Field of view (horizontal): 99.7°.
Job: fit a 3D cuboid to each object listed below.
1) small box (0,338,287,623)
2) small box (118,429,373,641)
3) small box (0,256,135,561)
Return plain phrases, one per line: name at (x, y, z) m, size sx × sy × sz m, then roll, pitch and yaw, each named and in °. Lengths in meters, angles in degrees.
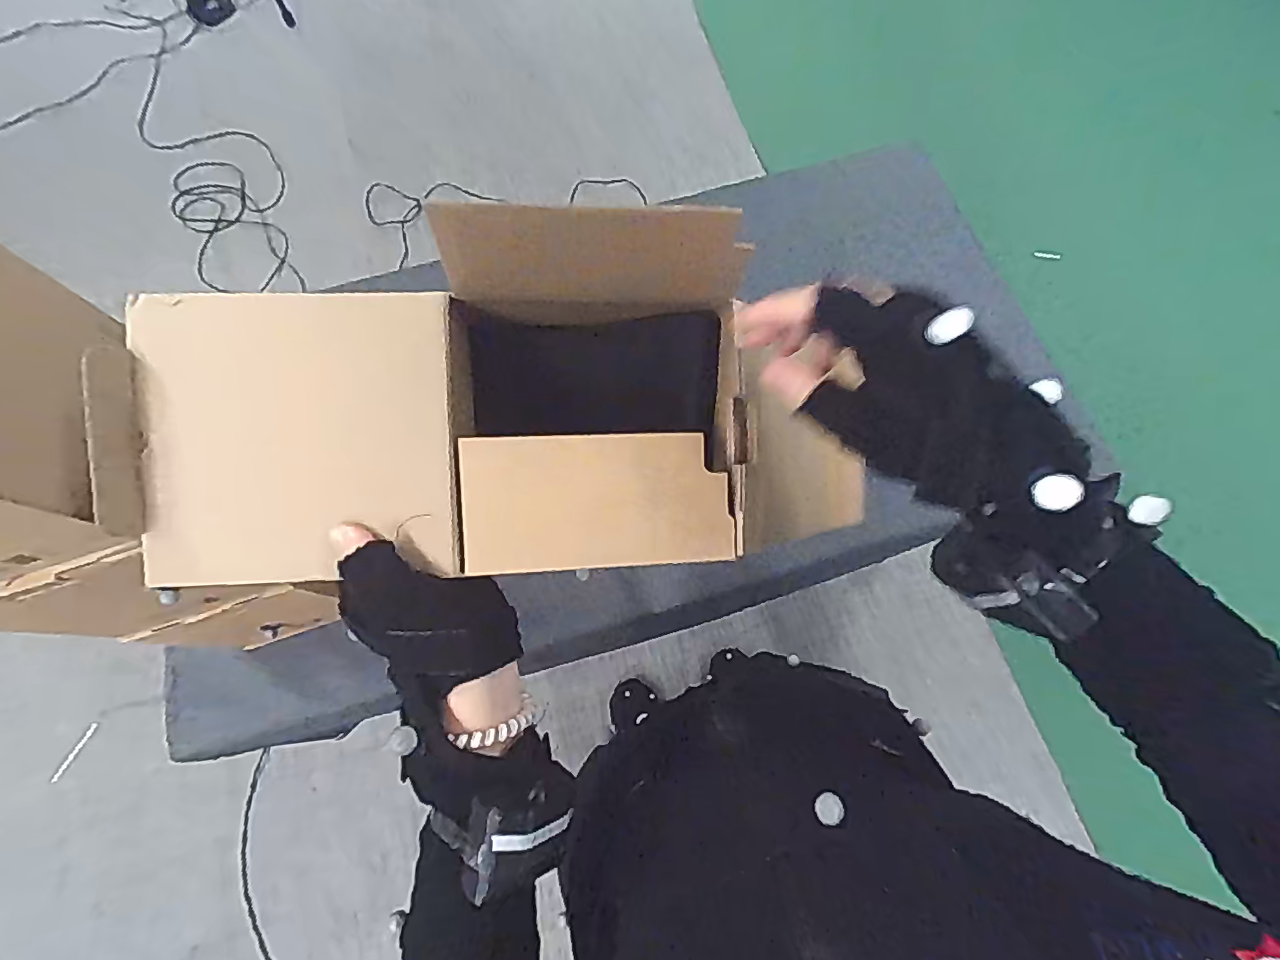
small box at (-0.434, 0.016, 0.459) m, size 0.168 × 0.176 × 0.179 m, roll -17°, pitch 72°, yaw -5°
small box at (-0.432, 0.072, 0.612) m, size 0.168 × 0.176 × 0.179 m, roll -18°, pitch 72°, yaw -5°
small box at (-0.440, -0.043, 0.307) m, size 0.168 × 0.176 × 0.179 m, roll -18°, pitch 72°, yaw -6°
